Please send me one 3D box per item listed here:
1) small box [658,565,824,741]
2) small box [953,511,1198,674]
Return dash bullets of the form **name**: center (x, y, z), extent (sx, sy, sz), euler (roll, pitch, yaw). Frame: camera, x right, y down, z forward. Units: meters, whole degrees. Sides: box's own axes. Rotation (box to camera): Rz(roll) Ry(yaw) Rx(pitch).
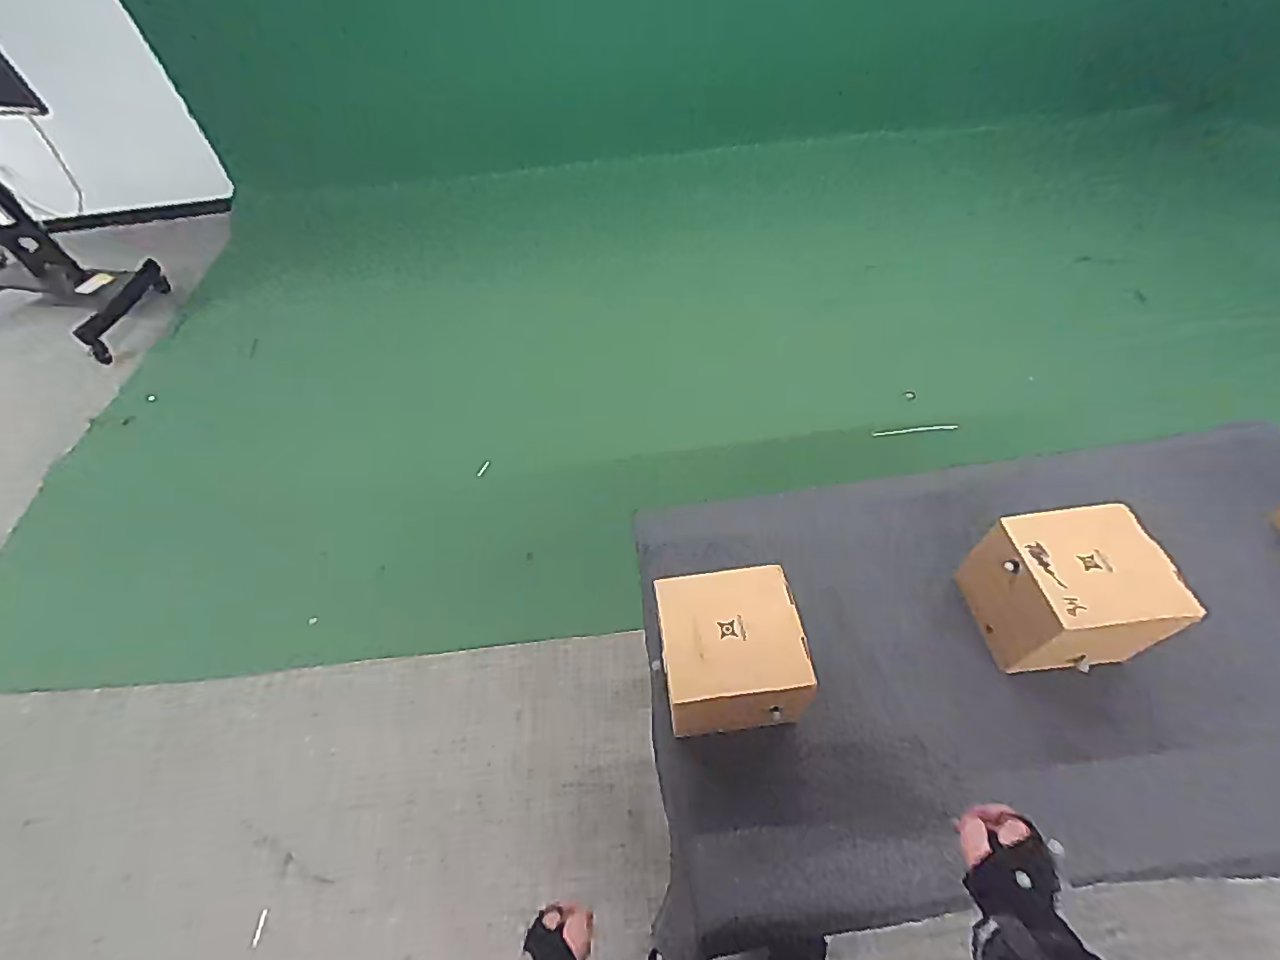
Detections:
- **small box**: center (0.120, 0.235, 0.727), extent (0.179, 0.176, 0.168), euler (-7, 50, -3)
- **small box**: center (0.595, 0.163, 0.770), extent (0.179, 0.176, 0.168), euler (-5, 52, -3)
